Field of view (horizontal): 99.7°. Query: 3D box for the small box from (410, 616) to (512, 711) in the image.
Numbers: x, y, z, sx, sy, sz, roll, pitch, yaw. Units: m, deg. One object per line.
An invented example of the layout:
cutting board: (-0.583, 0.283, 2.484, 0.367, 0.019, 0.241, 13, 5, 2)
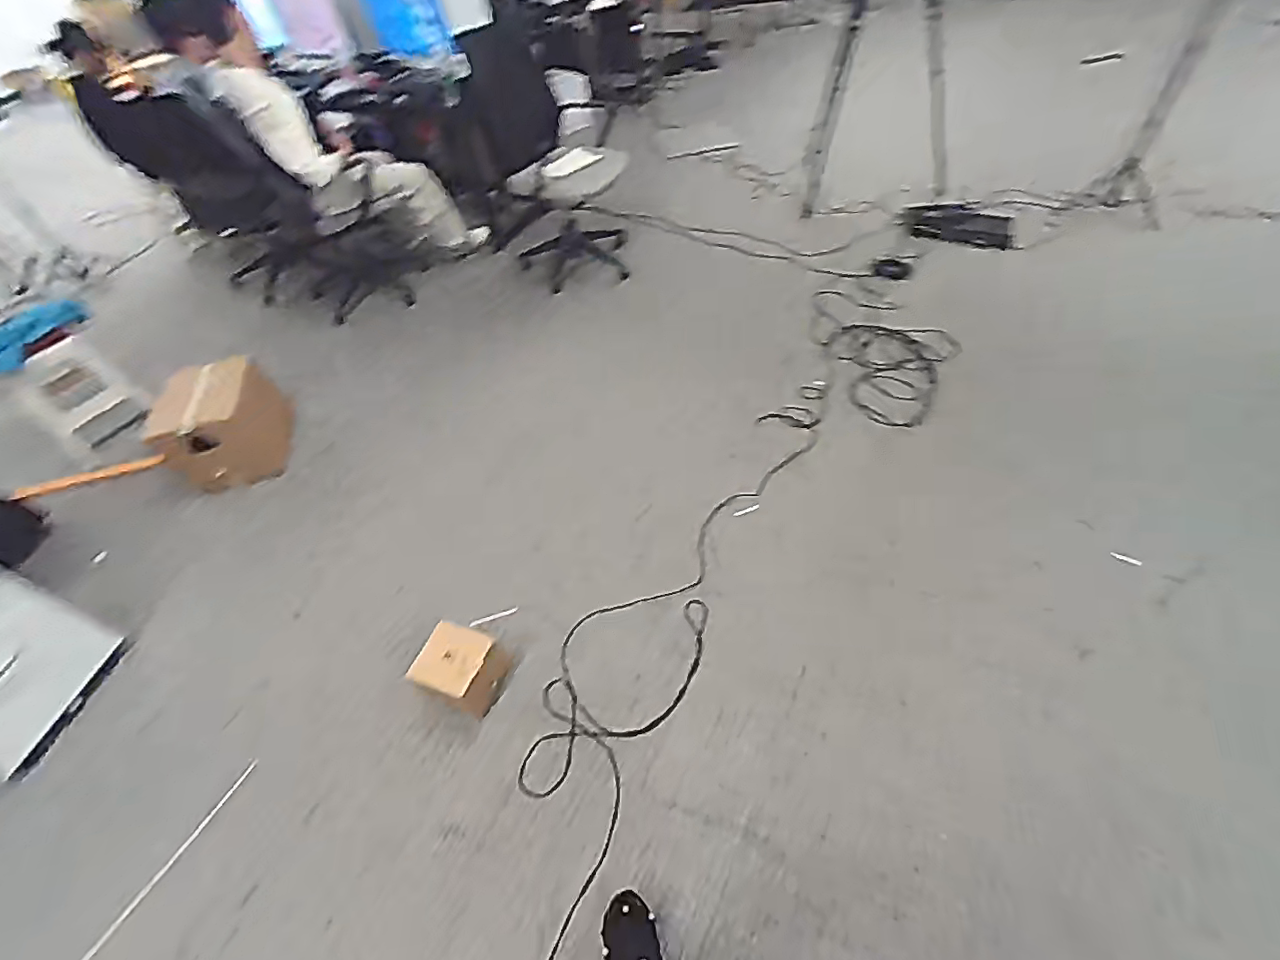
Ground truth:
small box: (-0.476, 0.499, 1.462, 0.179, 0.176, 0.168, 13, 53, 17)
